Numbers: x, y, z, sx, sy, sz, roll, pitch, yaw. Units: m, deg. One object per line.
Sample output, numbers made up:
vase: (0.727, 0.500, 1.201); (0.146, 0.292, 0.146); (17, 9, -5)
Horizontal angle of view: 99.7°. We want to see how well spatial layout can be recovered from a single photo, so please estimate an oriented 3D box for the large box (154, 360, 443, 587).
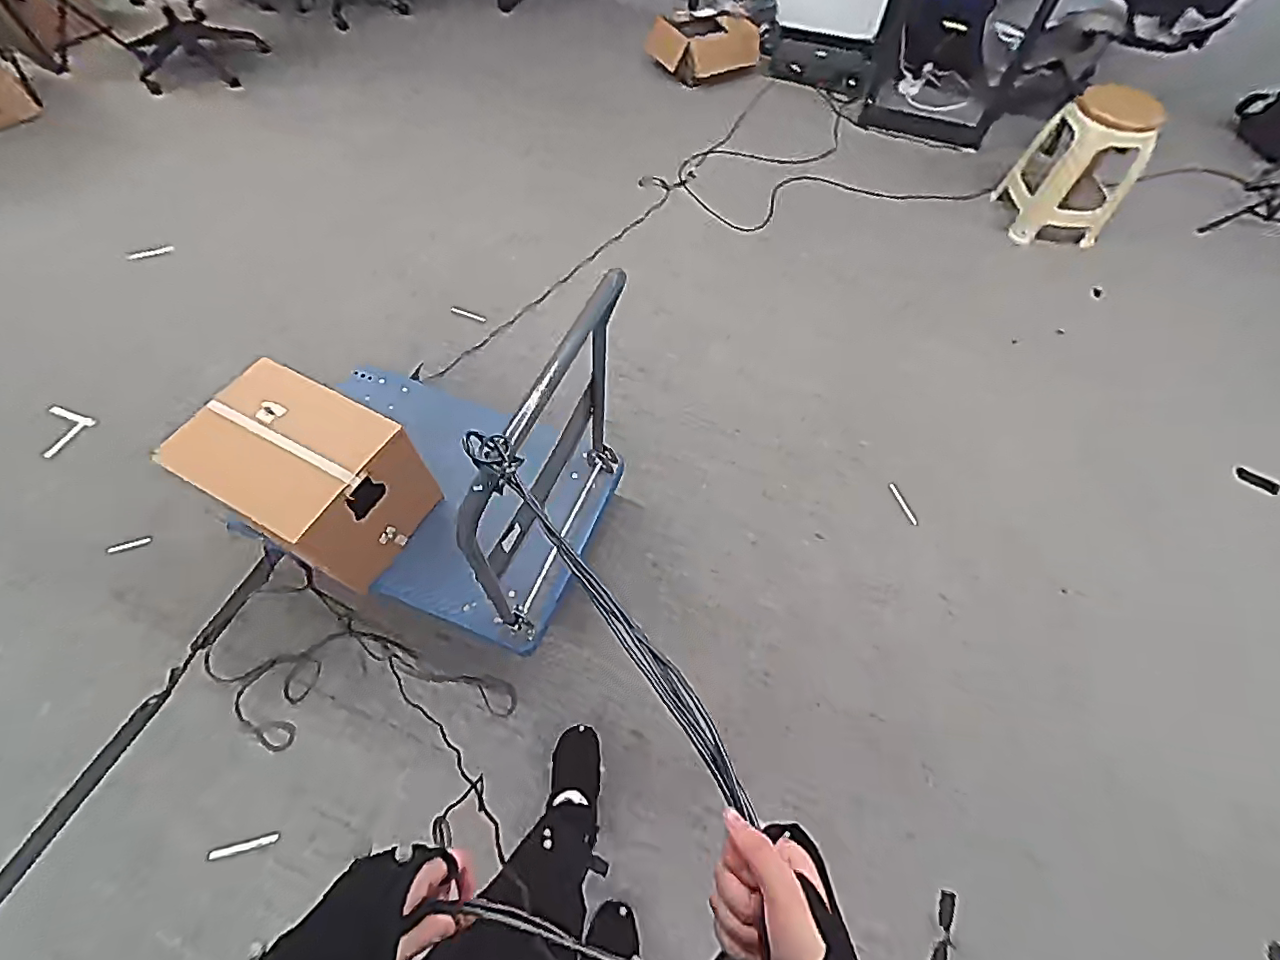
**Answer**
large box: (-0.747, -0.006, 1.252); (0.408, 0.320, 0.320); (25, 62, 13)
